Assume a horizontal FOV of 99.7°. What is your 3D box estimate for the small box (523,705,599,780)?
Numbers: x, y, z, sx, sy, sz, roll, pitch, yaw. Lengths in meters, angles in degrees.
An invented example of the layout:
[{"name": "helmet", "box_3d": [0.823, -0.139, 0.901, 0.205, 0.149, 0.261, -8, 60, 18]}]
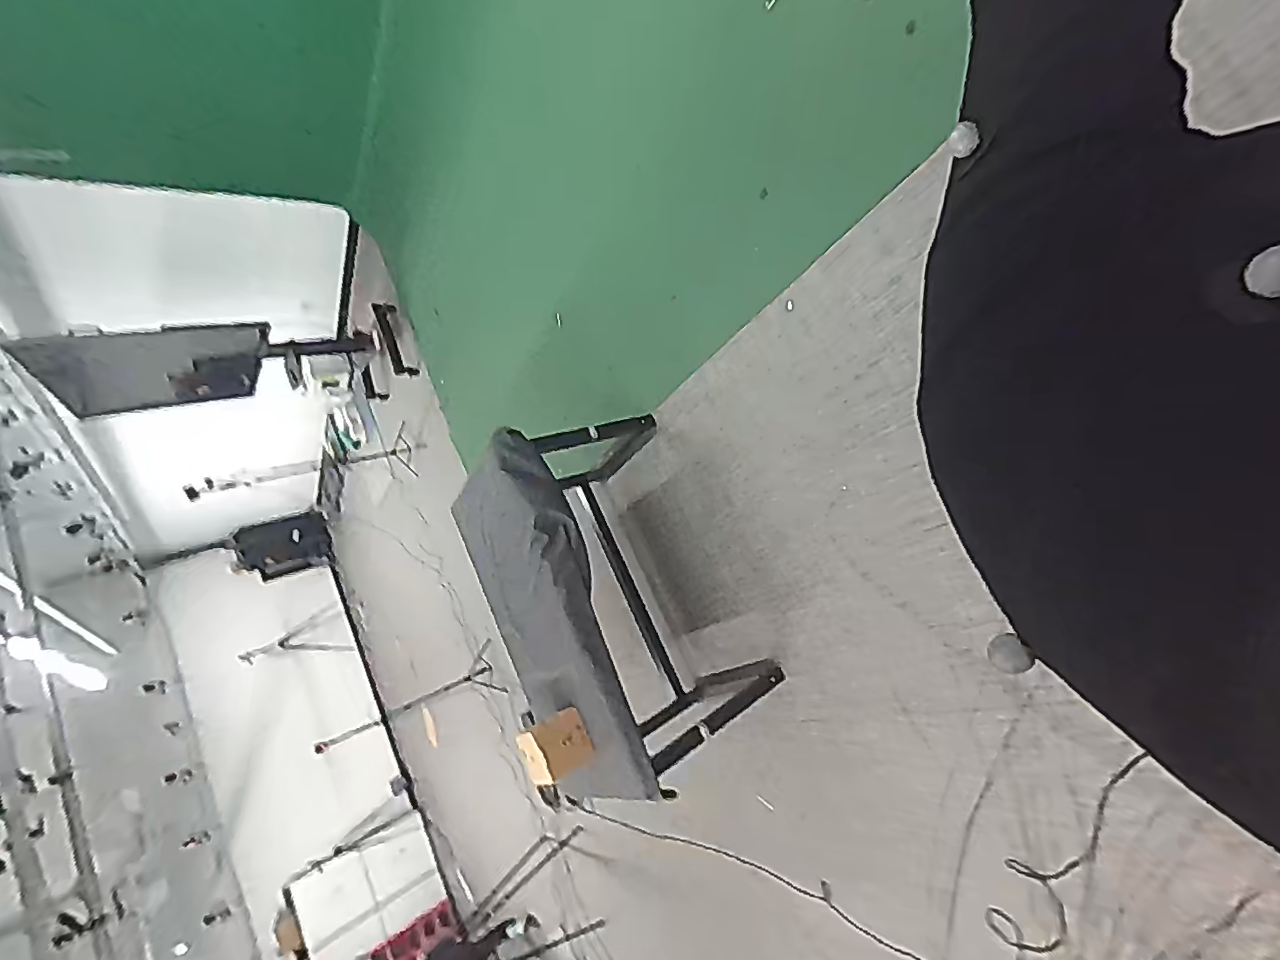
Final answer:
[{"name": "small box", "box_3d": [-0.257, 0.864, 1.788, 0.179, 0.176, 0.168, -42, 69, 49]}]
